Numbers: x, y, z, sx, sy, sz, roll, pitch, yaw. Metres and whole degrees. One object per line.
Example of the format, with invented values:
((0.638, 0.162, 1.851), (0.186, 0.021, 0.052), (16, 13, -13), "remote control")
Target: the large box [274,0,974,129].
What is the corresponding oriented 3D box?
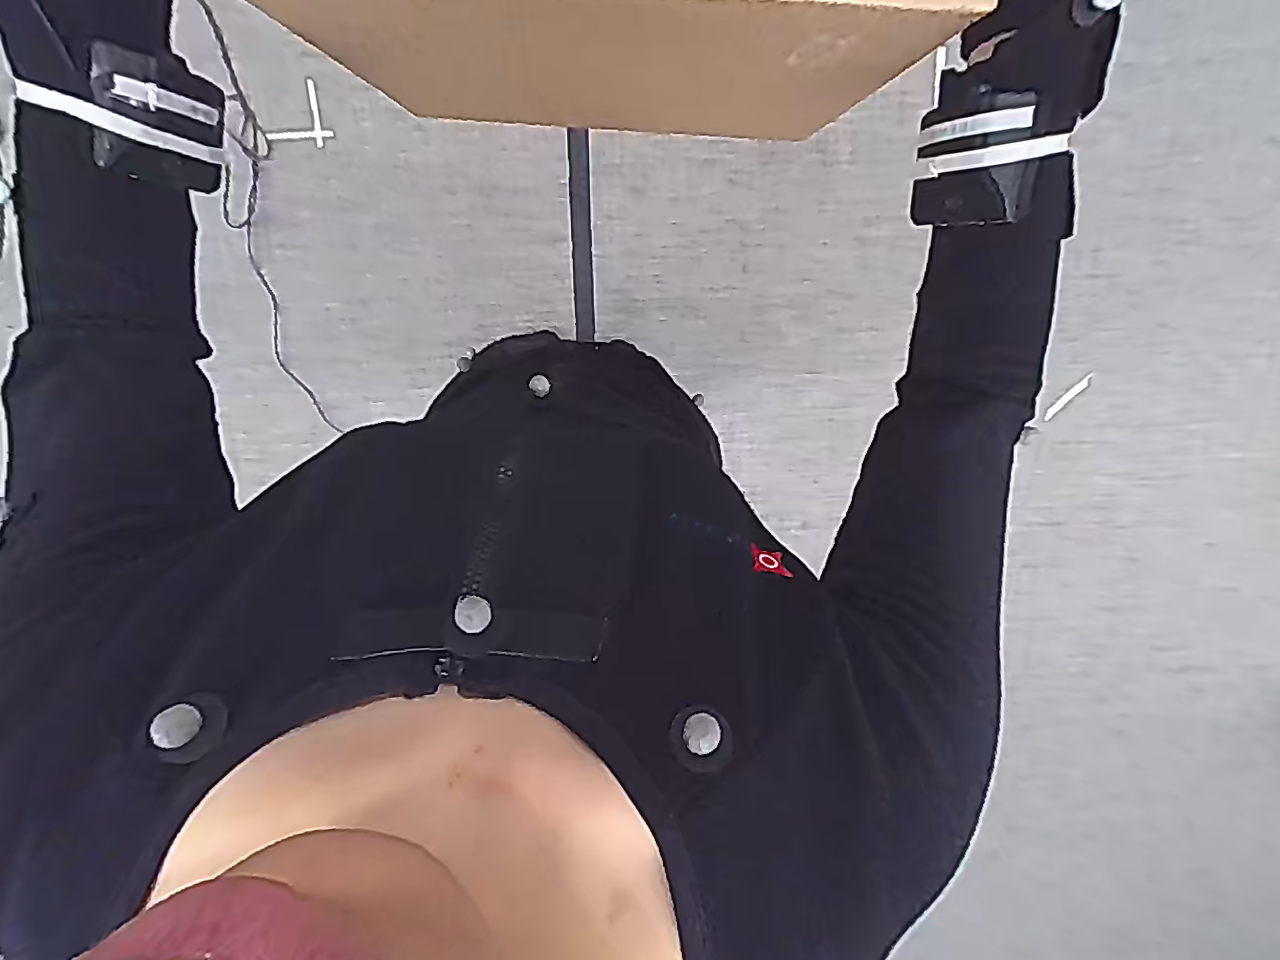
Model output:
((-0.017, -0.451, 0.360), (0.408, 0.320, 0.320), (1, 113, -3), "large box")
